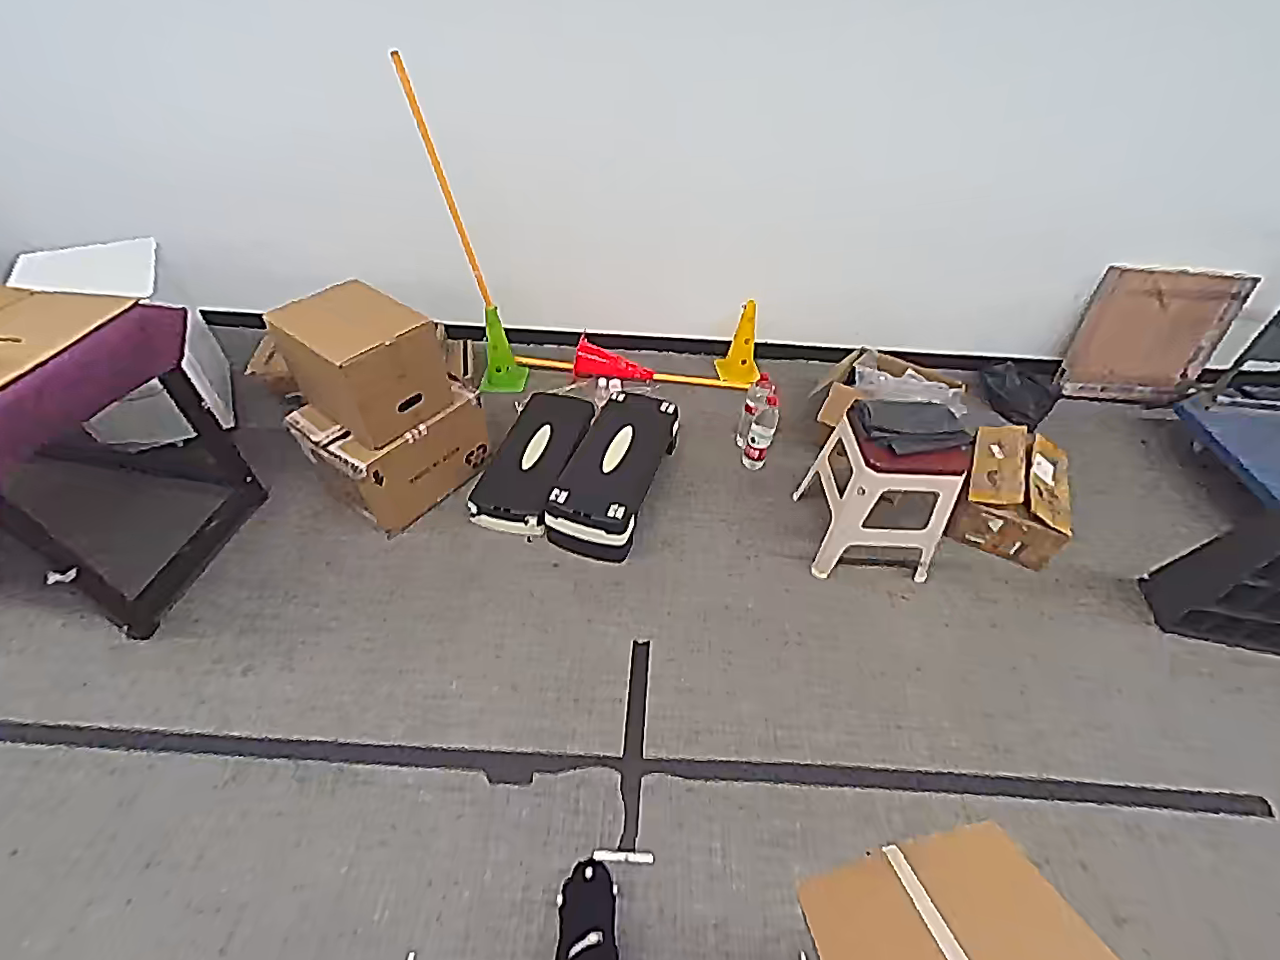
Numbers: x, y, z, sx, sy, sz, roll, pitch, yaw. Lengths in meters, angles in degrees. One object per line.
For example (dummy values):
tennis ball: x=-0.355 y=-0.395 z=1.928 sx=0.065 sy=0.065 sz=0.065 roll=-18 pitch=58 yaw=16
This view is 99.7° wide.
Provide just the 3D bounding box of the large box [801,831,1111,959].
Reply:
large box: x=0.434 y=0.731 z=0.631 sx=0.320 sy=0.320 sz=0.408 roll=-19 pitch=7 yaw=1
